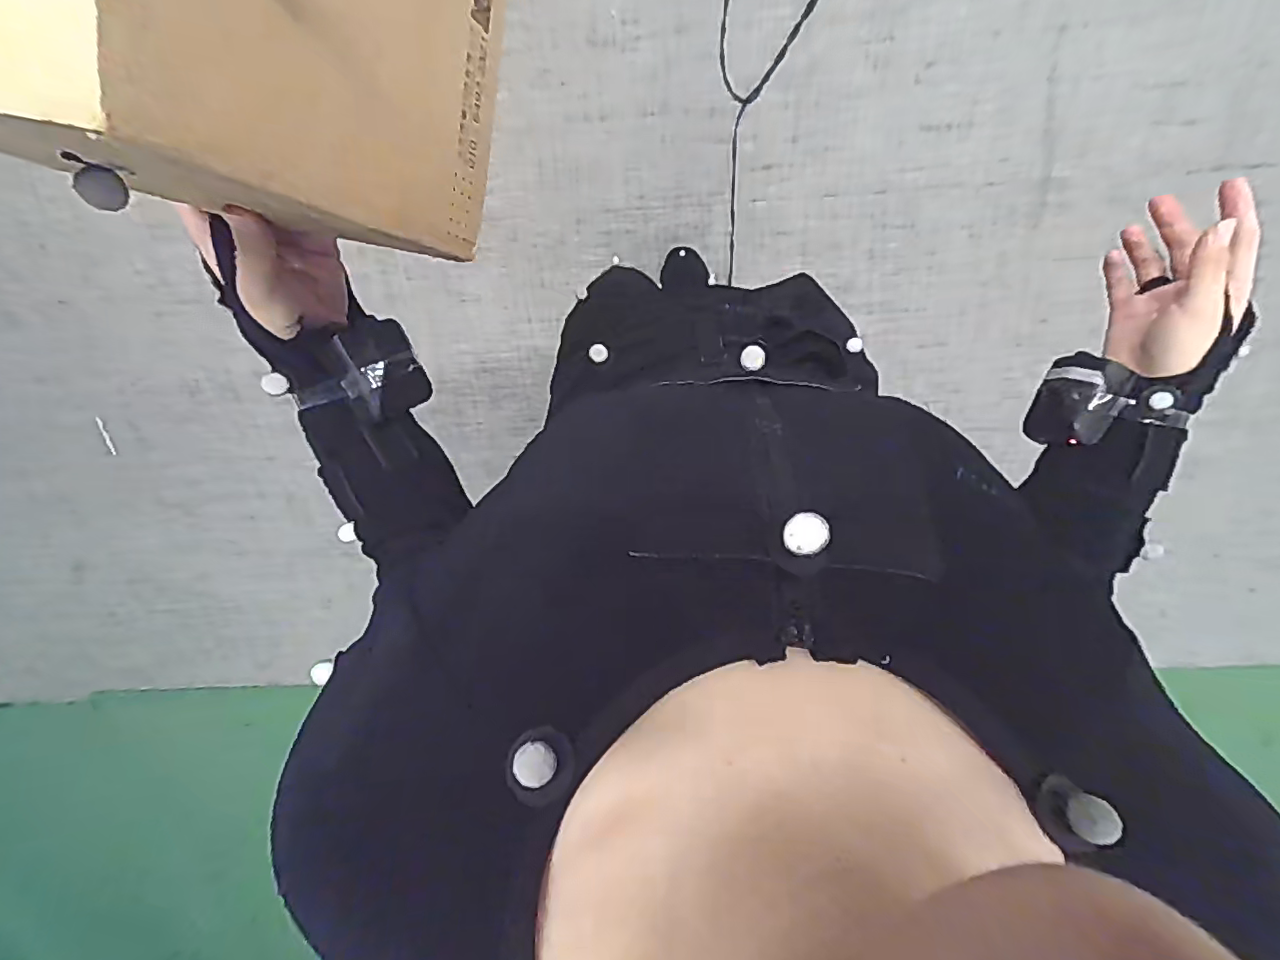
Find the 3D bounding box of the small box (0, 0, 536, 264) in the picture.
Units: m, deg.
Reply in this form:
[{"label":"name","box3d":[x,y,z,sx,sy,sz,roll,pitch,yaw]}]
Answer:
[{"label":"small box","box3d":[-0.162,-0.192,0.210,0.179,0.176,0.168,13,105,11]}]
